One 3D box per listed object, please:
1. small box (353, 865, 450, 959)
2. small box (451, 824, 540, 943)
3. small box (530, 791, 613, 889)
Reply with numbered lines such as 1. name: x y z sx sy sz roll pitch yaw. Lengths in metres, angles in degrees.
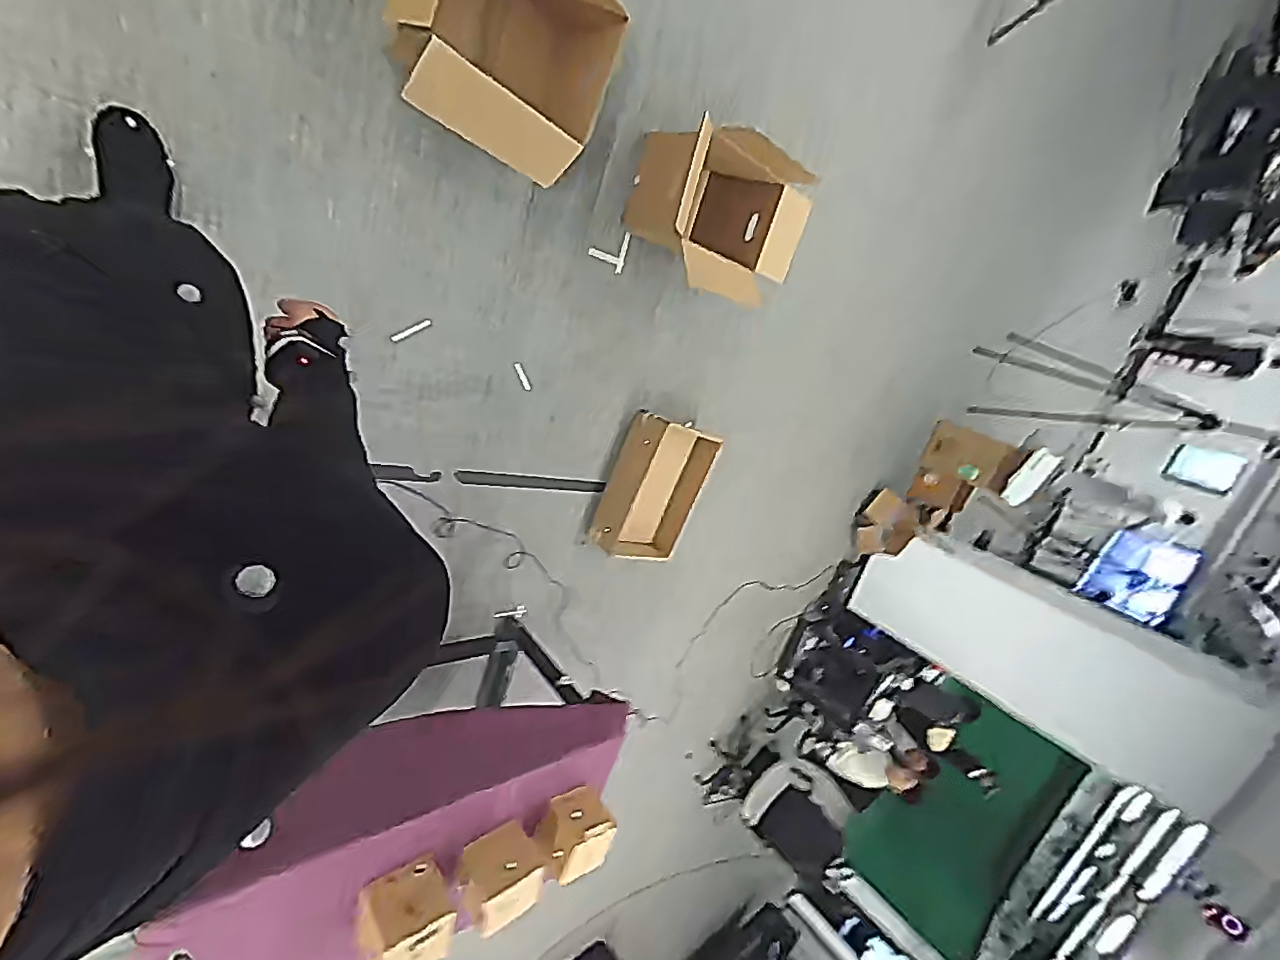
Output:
1. small box: -0.590 1.094 1.327 0.168 0.176 0.179 -3 117 -43
2. small box: -0.408 1.120 1.519 0.179 0.176 0.168 -8 119 -41
3. small box: -0.221 1.117 1.701 0.168 0.176 0.179 10 107 -46
